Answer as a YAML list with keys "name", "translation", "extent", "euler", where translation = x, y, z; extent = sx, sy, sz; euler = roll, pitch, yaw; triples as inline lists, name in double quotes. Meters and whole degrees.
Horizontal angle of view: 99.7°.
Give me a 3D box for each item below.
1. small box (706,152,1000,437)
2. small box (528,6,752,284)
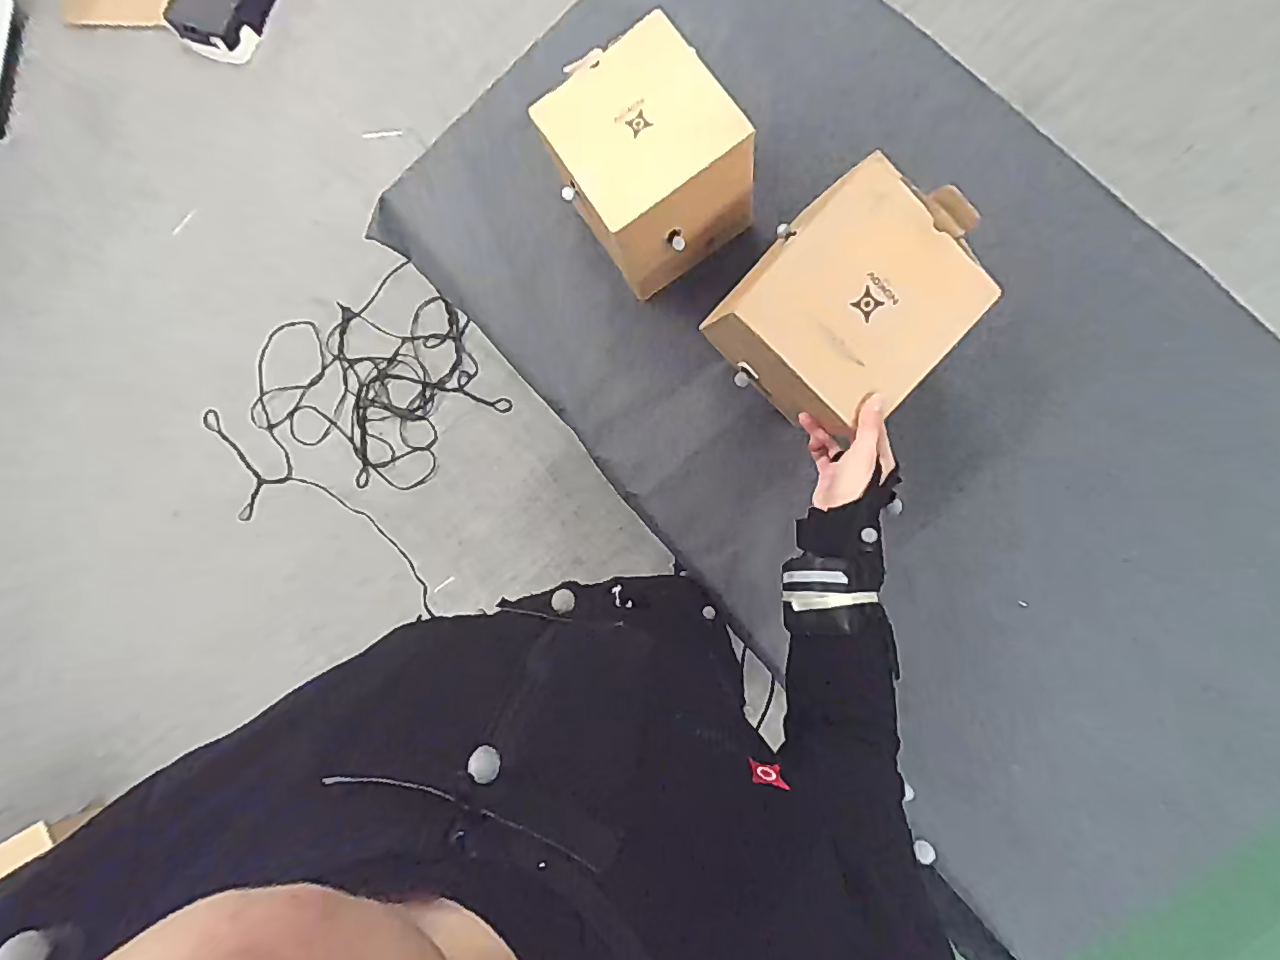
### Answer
- name: "small box"
  translation: [0.189, -0.166, 0.535]
  extent: [0.168, 0.176, 0.179]
  euler: [41, 94, -10]
- name: "small box"
  translation: [0.011, -0.349, 0.608]
  extent: [0.168, 0.176, 0.179]
  euler: [-34, 80, 6]
